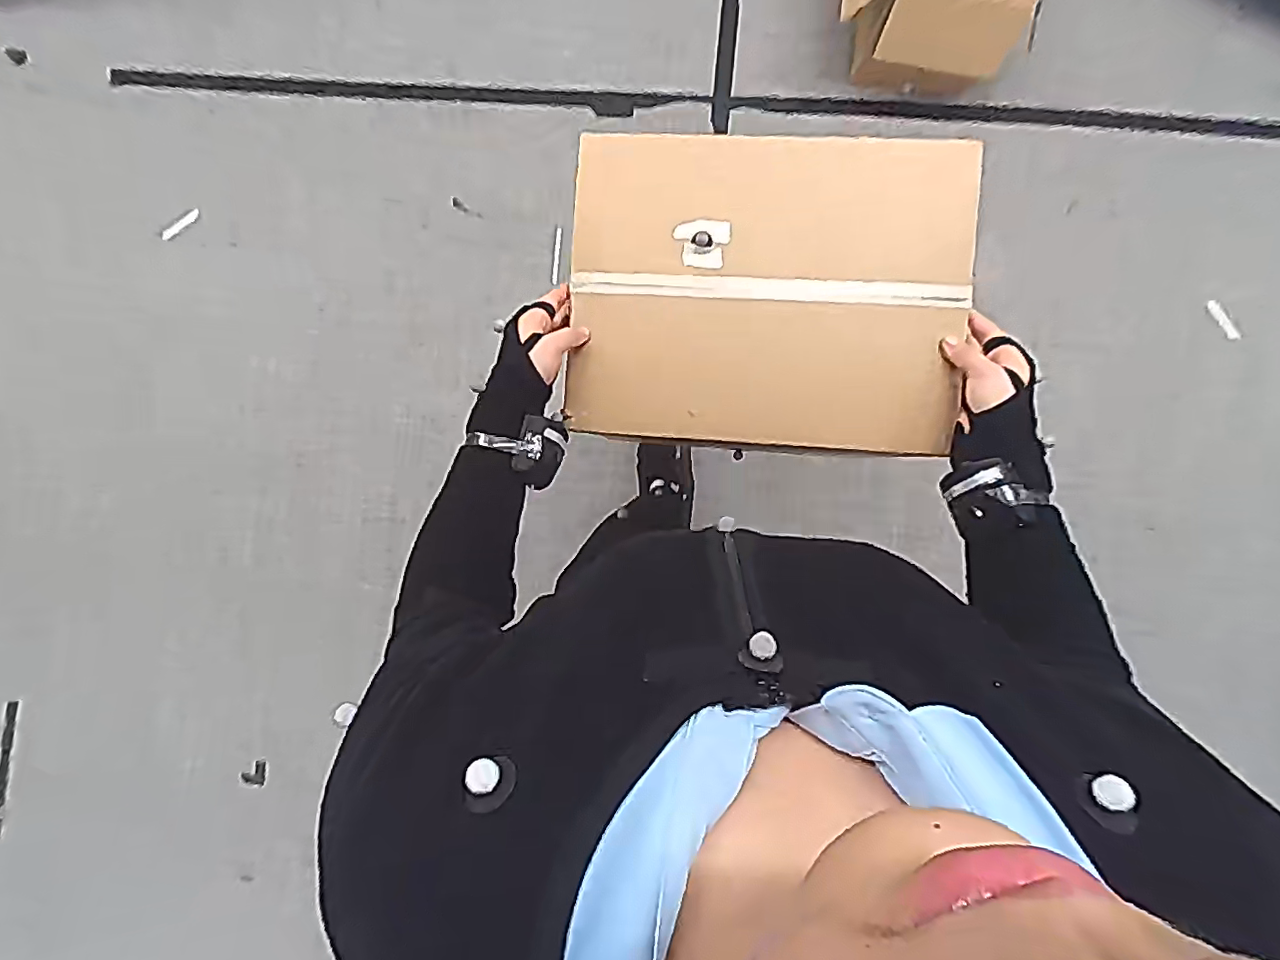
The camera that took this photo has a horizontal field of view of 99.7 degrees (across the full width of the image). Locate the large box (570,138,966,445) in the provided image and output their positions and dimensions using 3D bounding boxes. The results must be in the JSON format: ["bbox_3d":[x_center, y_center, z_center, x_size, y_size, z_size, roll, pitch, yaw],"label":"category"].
[{"bbox_3d":[0.143,-0.208,0.718,0.408,0.320,0.320,4,91,6],"label":"large box"}]
